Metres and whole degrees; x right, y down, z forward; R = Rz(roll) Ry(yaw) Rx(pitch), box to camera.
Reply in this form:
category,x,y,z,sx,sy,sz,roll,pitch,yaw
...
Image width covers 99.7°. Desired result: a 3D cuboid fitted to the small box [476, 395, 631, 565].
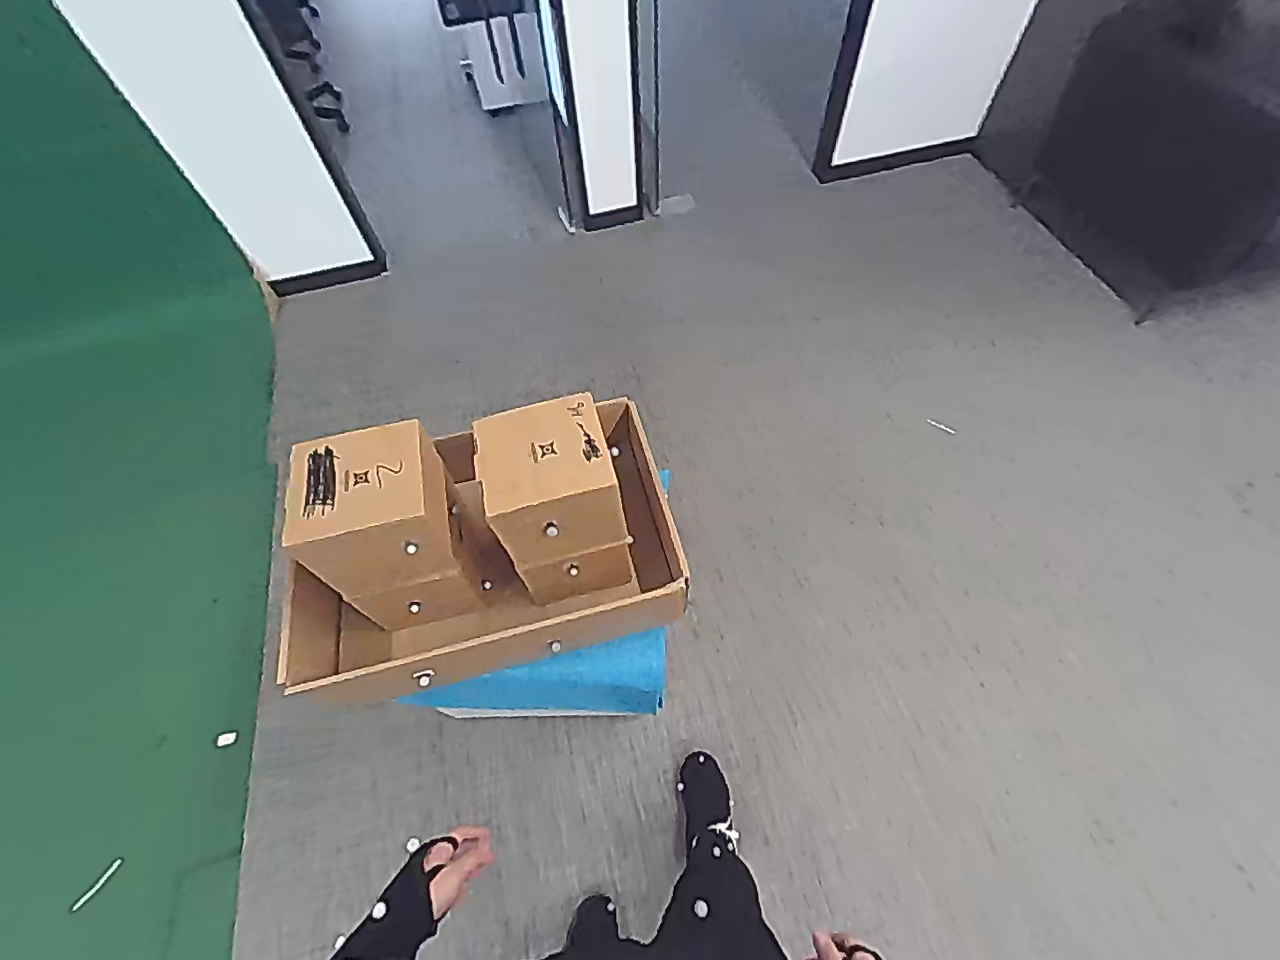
category,x,y,z,sx,sy,sz,roll,pitch,yaw
small box,-0.123,0.007,0.801,0.179,0.176,0.168,-16,59,-4
